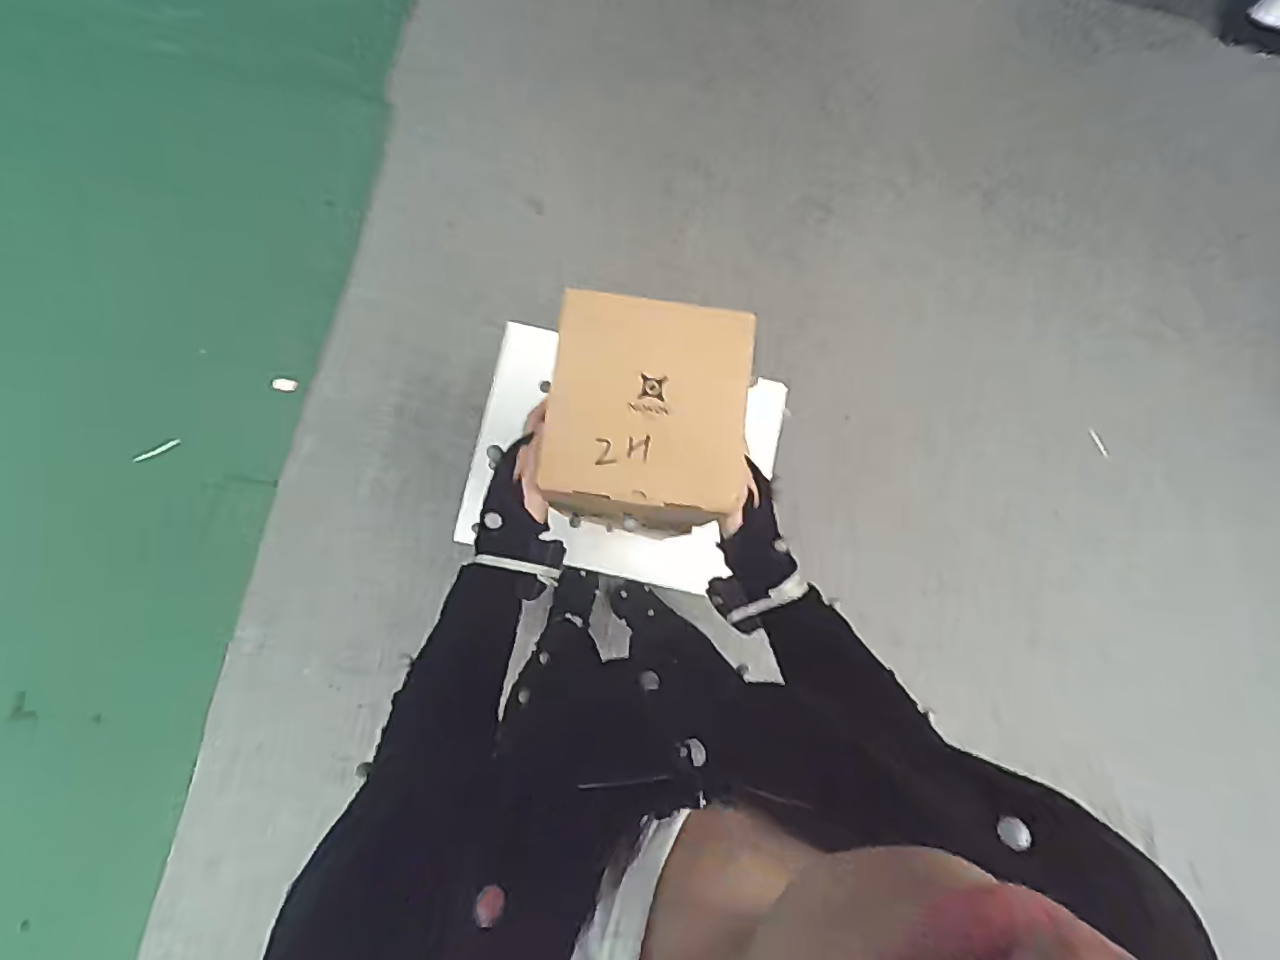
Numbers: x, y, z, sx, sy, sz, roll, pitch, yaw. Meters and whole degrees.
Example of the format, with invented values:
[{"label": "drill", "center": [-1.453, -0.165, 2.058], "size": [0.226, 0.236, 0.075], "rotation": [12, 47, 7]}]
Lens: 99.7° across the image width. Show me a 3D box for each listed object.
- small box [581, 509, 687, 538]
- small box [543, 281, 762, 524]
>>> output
[{"label": "small box", "center": [0.001, -0.014, 0.846], "size": [0.168, 0.176, 0.179], "rotation": [15, 82, -1]}, {"label": "small box", "center": [0.009, -0.059, 0.519], "size": [0.168, 0.176, 0.179], "rotation": [7, 80, -1]}]
